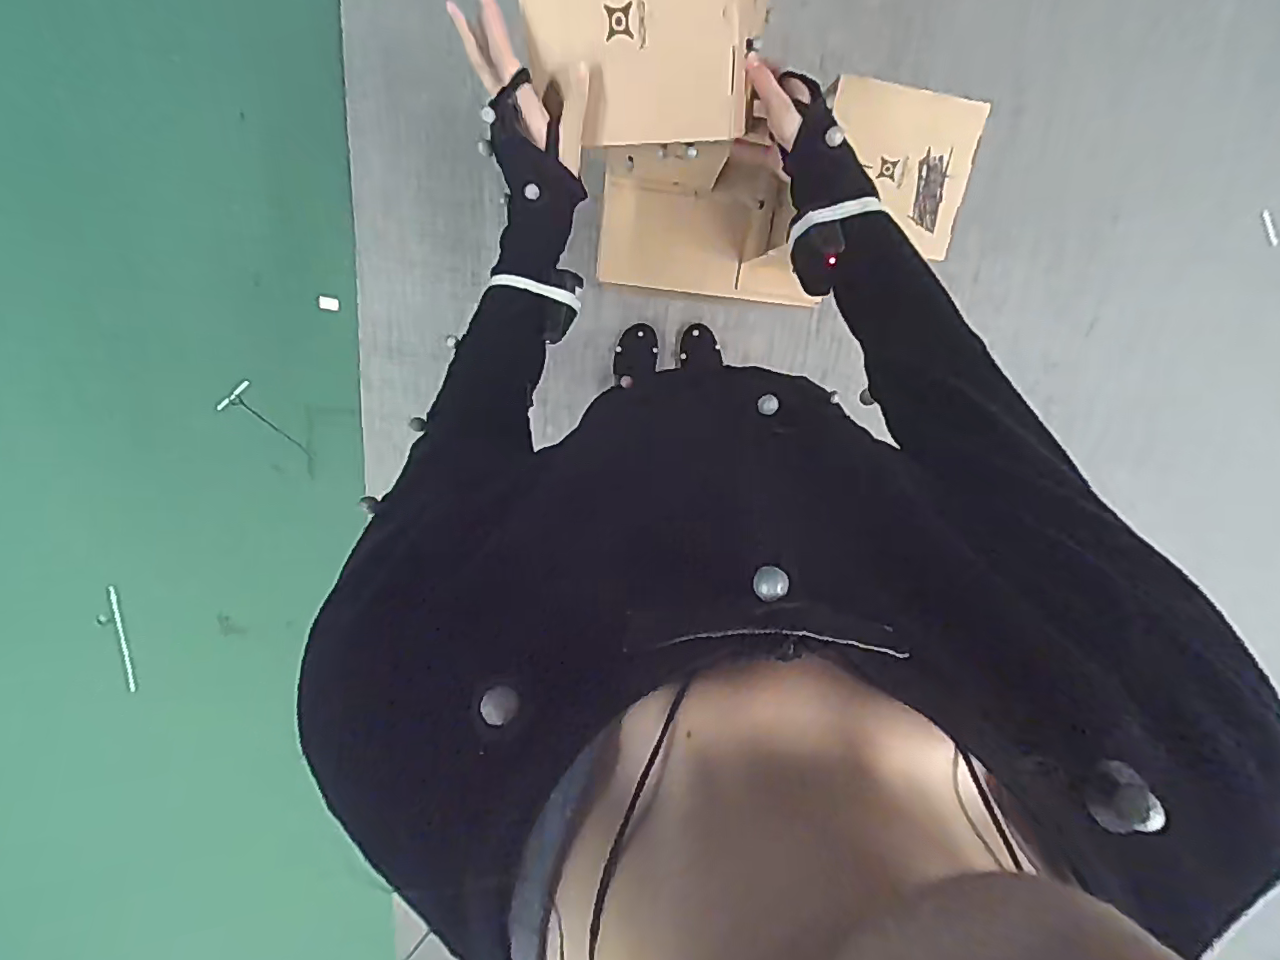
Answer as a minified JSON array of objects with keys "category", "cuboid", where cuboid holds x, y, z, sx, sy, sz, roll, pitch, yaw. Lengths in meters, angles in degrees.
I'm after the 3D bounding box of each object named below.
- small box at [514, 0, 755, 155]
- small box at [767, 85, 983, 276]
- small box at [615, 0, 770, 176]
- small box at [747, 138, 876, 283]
[{"category":"small box","cuboid":[0.006,-0.396,0.491,0.179,0.176,0.168,5,123,15]},{"category":"small box","cuboid":[0.282,-0.364,0.693,0.179,0.176,0.168,9,106,-3]},{"category":"small box","cuboid":[0.048,-0.501,0.657,0.168,0.176,0.179,11,106,-2]},{"category":"small box","cuboid":[0.277,-0.409,0.850,0.179,0.176,0.168,9,108,-2]}]
